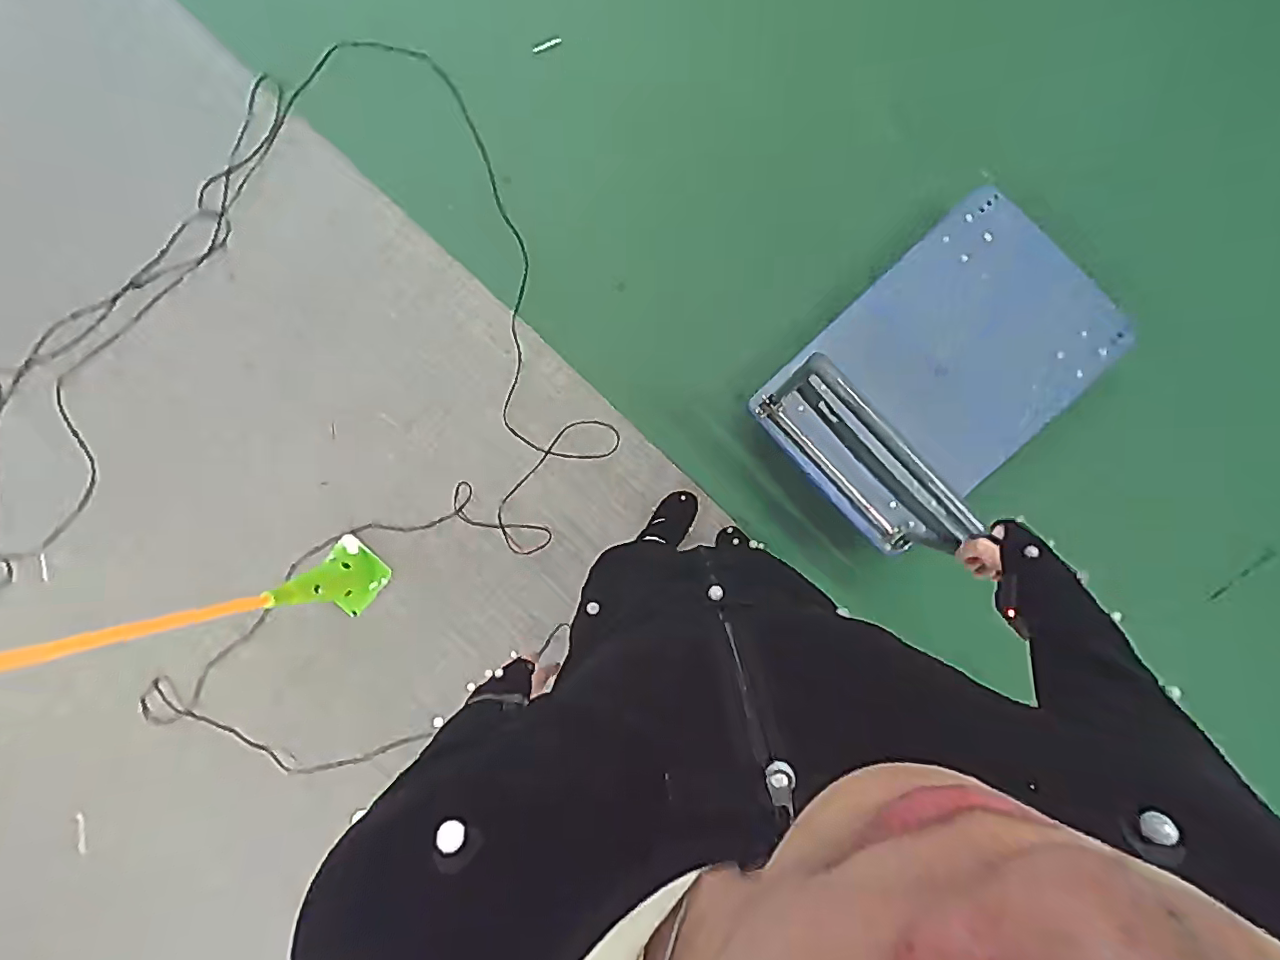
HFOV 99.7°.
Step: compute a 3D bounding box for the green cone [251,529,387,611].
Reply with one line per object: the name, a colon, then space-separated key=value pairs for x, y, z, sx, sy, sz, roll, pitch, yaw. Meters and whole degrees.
green cone: x=-0.930 y=0.280 z=1.523 sx=0.202 sy=0.368 sz=0.200 roll=40 pitch=92 yaw=5
